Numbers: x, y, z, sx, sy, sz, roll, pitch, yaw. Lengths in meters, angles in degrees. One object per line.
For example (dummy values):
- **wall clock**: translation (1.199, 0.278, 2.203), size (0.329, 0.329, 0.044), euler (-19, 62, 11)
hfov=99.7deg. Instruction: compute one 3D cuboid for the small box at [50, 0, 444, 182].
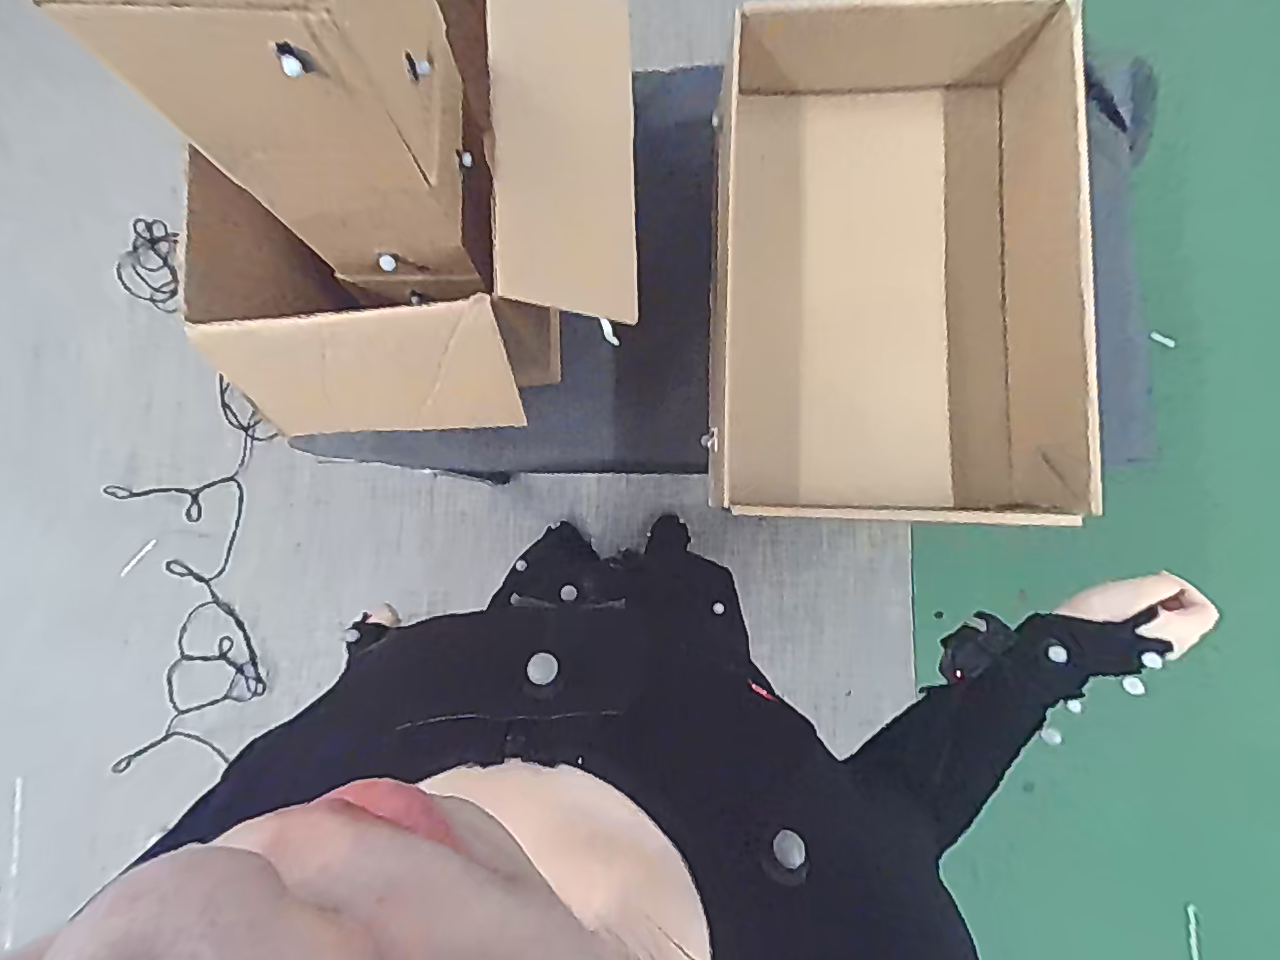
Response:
- **small box**: translation (-0.265, -0.351, 0.404), size (0.179, 0.176, 0.168), euler (0, 85, -2)
